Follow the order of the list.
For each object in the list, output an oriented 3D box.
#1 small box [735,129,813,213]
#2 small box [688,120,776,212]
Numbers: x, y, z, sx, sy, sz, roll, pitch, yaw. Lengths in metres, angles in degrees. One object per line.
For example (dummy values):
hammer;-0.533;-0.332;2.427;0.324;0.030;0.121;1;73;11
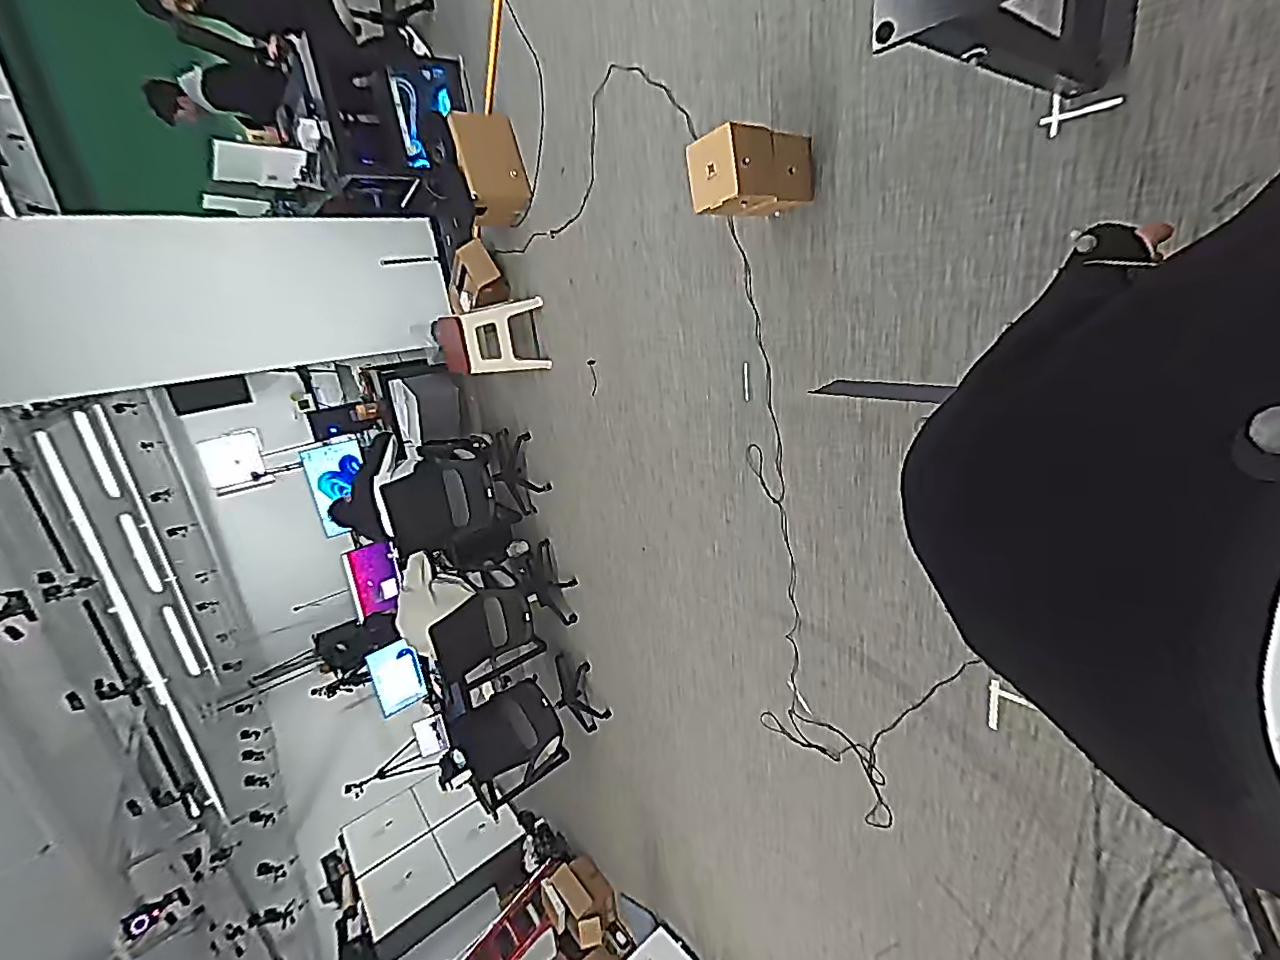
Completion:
small box;0.385;-0.892;1.576;0.168;0.176;0.179;12;116;51
small box;0.257;-0.852;1.483;0.168;0.176;0.179;6;110;51
